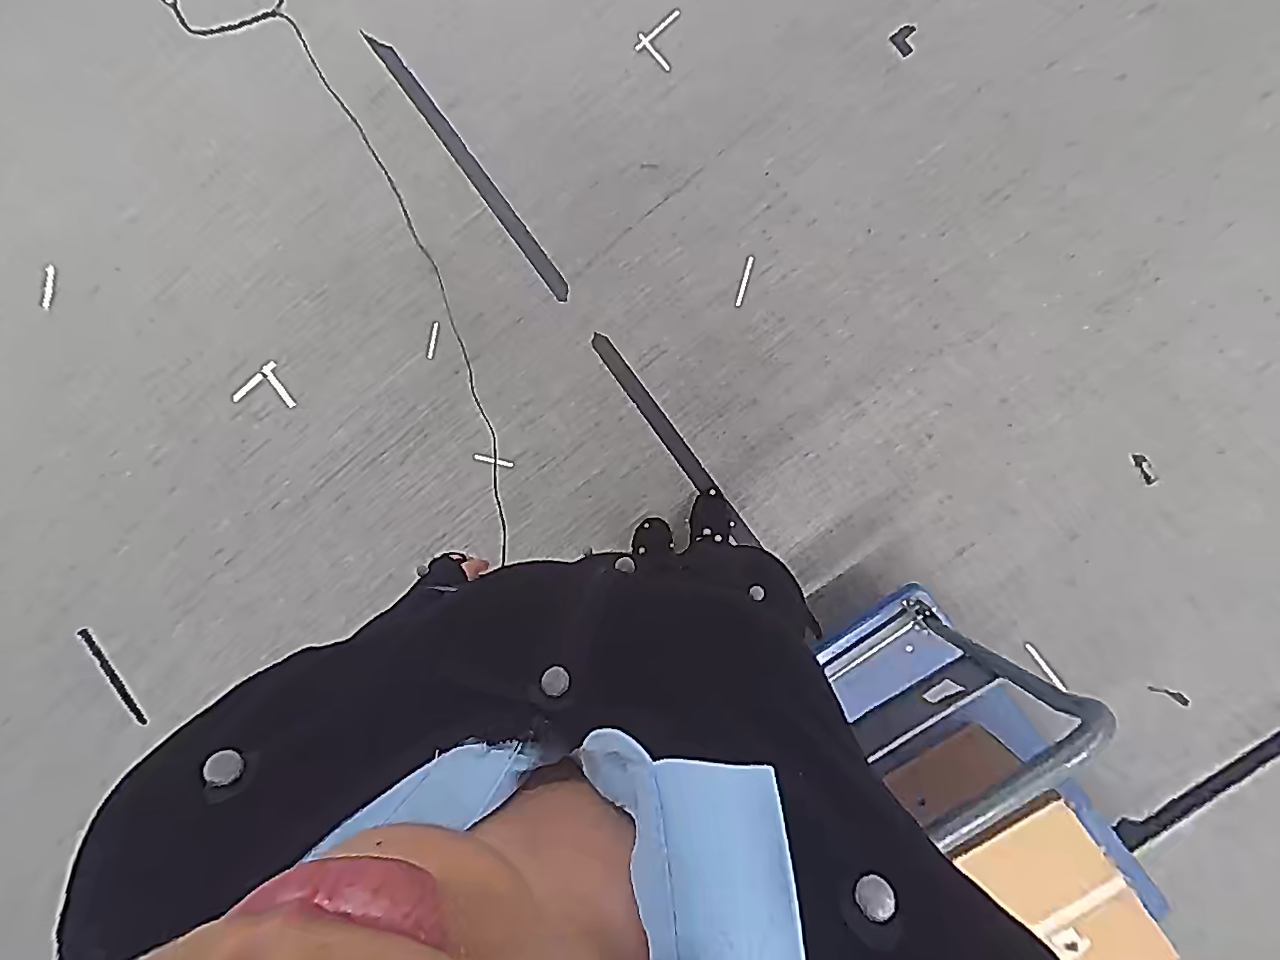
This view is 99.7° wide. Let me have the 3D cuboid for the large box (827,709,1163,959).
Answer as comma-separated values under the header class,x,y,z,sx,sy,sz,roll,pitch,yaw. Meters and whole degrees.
class,x,y,z,sx,sy,sz,roll,pitch,yaw
large box,0.663,0.754,1.095,0.408,0.320,0.320,-36,86,4
